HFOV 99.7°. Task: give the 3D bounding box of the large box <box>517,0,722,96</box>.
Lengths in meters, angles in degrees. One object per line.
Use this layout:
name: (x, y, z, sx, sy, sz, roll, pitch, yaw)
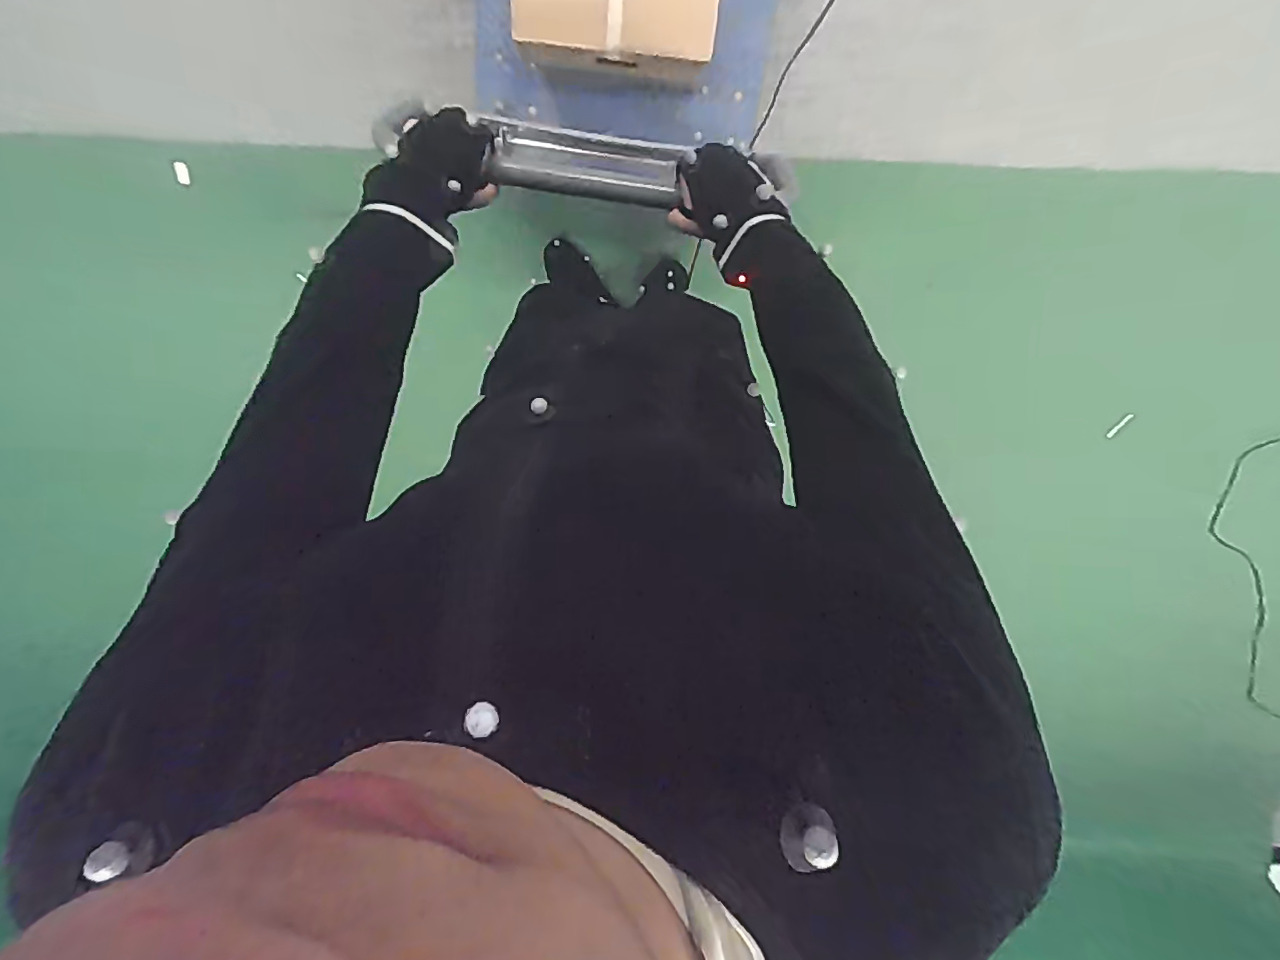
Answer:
large box: (-0.019, -0.902, 0.890, 0.320, 0.320, 0.408, 5, 119, -2)
